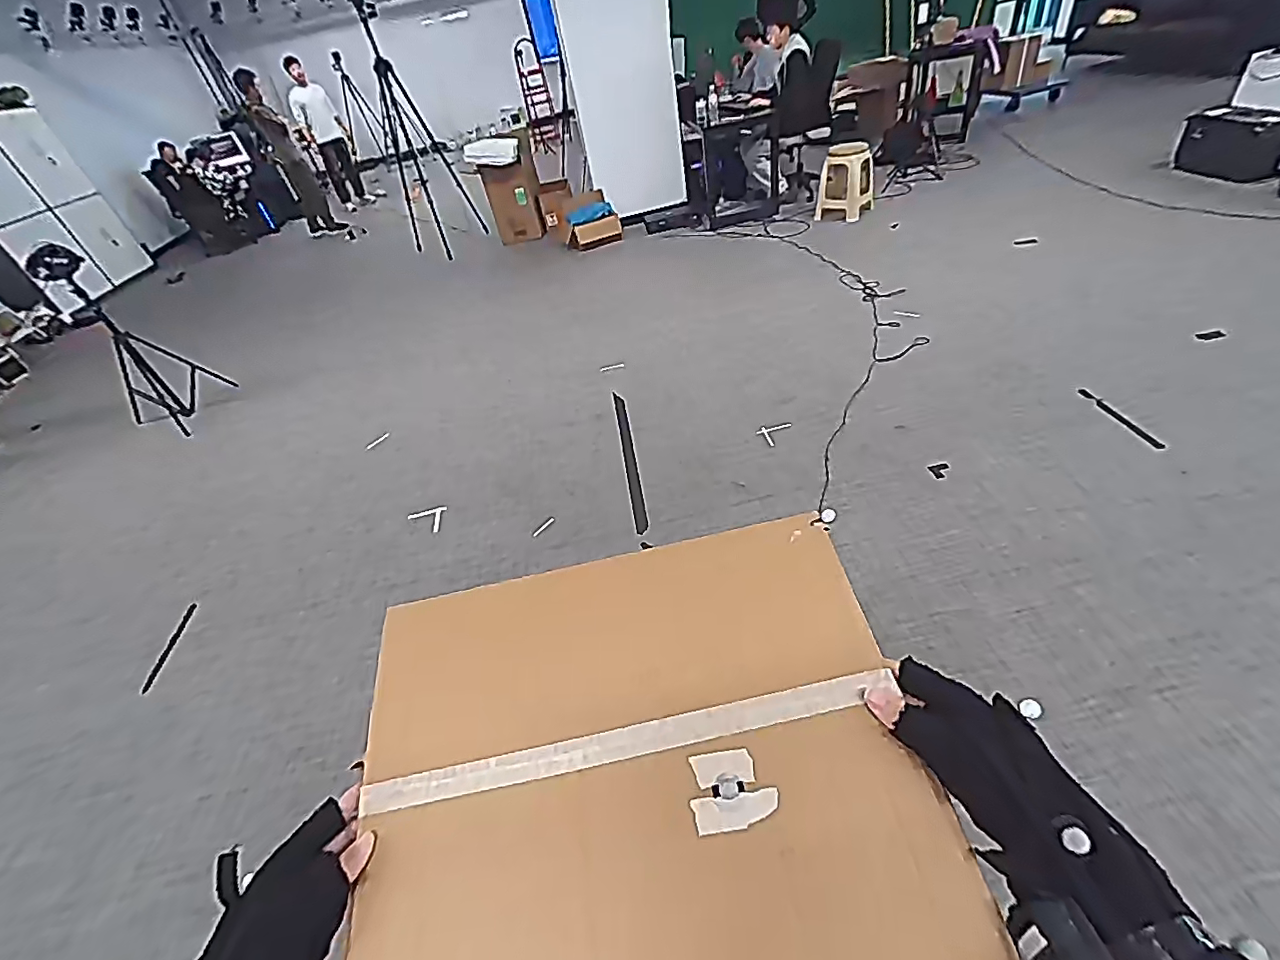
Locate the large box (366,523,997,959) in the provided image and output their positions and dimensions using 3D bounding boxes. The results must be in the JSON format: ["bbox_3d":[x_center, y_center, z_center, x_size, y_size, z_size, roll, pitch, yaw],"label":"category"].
[{"bbox_3d":[0.016,0.292,0.528,0.408,0.320,0.320,-13,53,0],"label":"large box"}]
